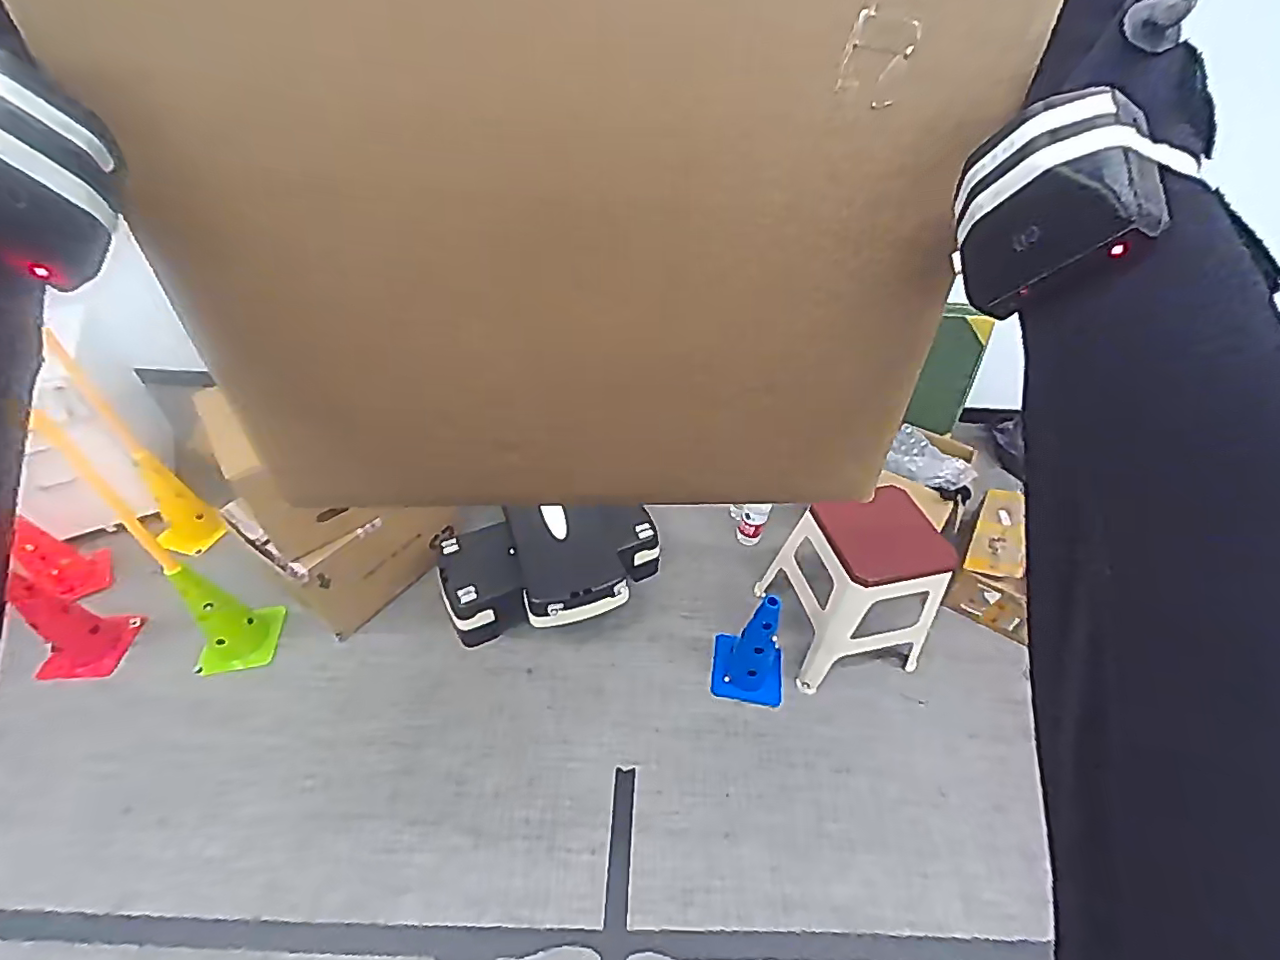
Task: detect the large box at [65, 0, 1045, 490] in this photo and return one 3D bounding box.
[{"bbox_3d":[-0.039,-0.203,0.396,0.408,0.320,0.320,0,40,-3],"label":"large box"}]
